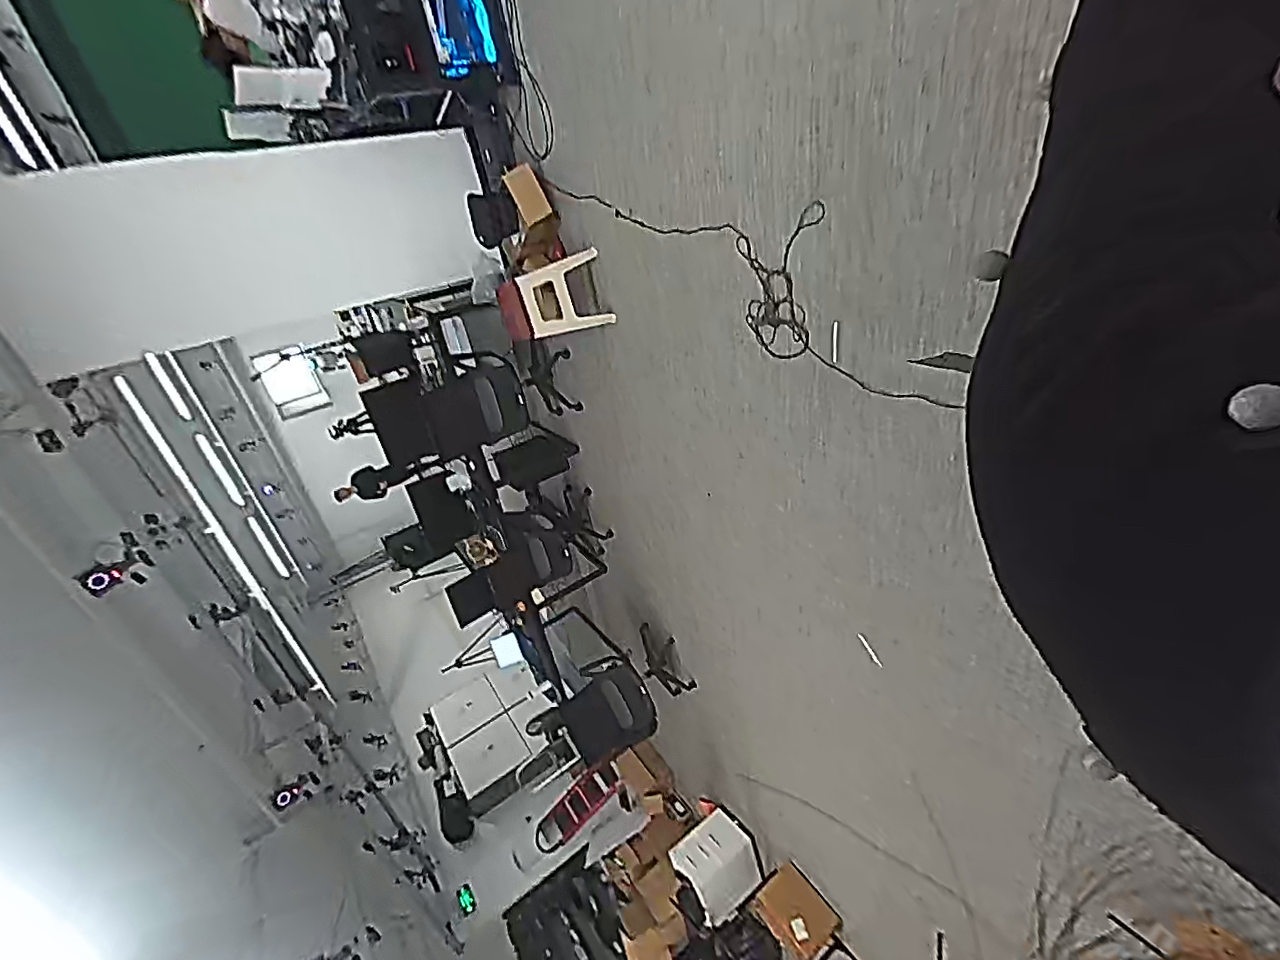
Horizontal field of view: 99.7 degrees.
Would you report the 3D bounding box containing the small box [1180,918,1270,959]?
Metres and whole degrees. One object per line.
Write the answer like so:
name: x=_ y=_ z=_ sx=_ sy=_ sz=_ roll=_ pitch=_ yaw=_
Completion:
small box: x=1.644 y=1.403 z=1.520 sx=0.168 sy=0.176 sz=0.179 roll=23 pitch=133 yaw=53
